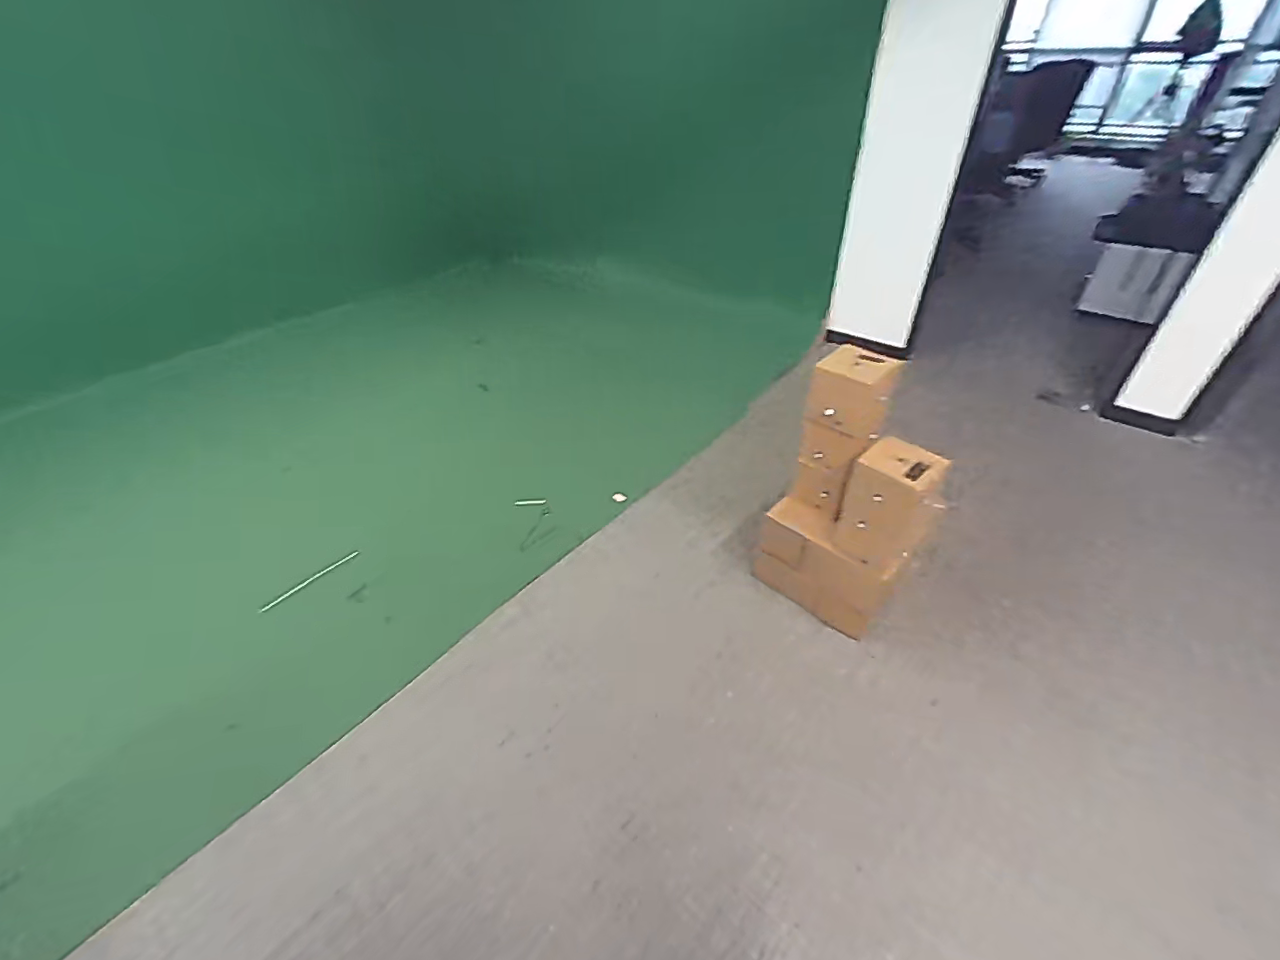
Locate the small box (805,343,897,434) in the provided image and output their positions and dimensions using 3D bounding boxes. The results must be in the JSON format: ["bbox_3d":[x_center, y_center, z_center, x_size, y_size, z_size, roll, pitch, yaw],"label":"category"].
[{"bbox_3d":[0.585,-0.258,1.519,0.168,0.176,0.179,31,50,34],"label":"small box"}]

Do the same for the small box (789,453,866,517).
[{"bbox_3d":[0.596,-0.011,1.733,0.168,0.176,0.179,31,48,34],"label":"small box"}]

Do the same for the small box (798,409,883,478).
[{"bbox_3d":[0.598,-0.137,1.630,0.168,0.176,0.179,31,51,33],"label":"small box"}]

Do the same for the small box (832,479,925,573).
[{"bbox_3d":[0.676,0.131,1.551,0.179,0.176,0.168,-31,48,-32],"label":"small box"}]
